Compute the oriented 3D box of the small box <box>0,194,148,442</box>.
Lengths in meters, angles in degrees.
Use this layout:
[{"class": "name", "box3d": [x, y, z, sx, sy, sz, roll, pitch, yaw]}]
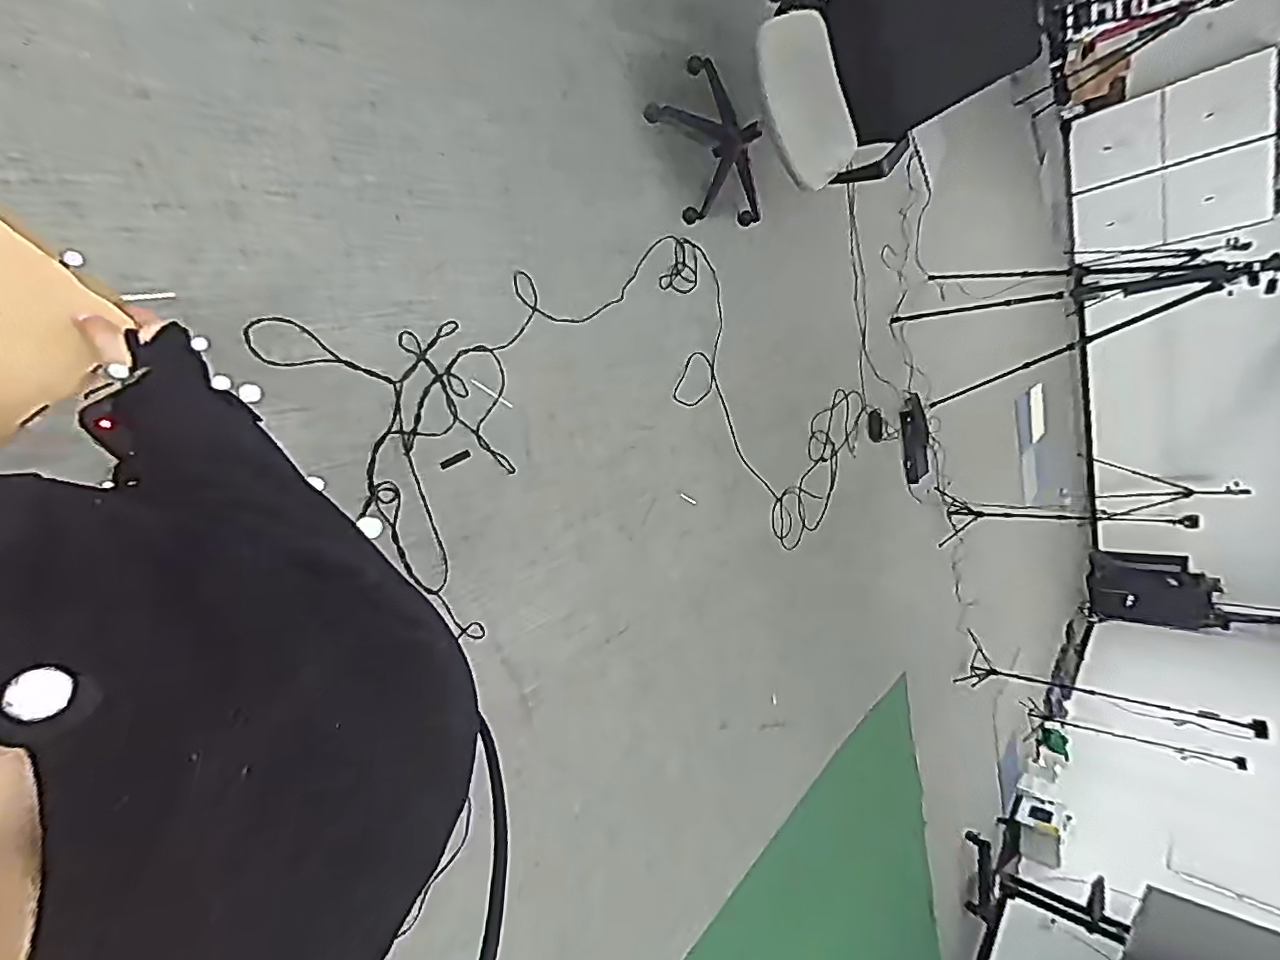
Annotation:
[{"class": "small box", "box3d": [-0.609, -0.167, 0.491, 0.168, 0.176, 0.179, -50, 137, -16]}]
